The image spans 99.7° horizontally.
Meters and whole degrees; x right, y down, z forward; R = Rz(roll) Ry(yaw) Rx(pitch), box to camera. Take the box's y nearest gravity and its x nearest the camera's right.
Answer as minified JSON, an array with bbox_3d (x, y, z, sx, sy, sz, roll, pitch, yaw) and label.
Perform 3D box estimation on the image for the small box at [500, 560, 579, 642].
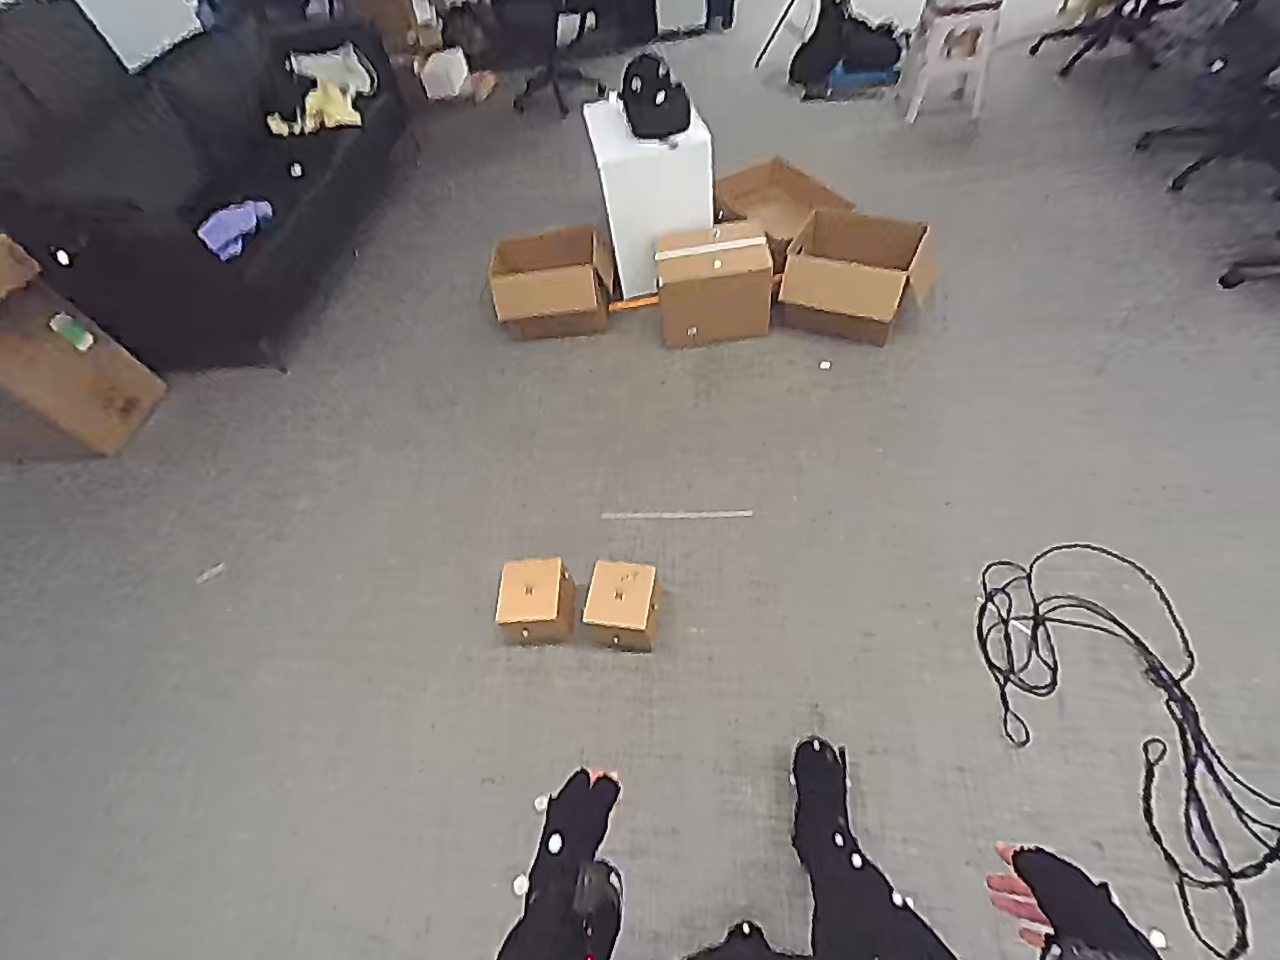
[{"bbox_3d":[-0.270,0.342,1.498,0.168,0.176,0.179,-5,53,7],"label":"small box"}]

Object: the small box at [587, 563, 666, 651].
[{"bbox_3d":[-0.028,0.345,1.450,0.168,0.176,0.179,4,55,13],"label":"small box"}]
